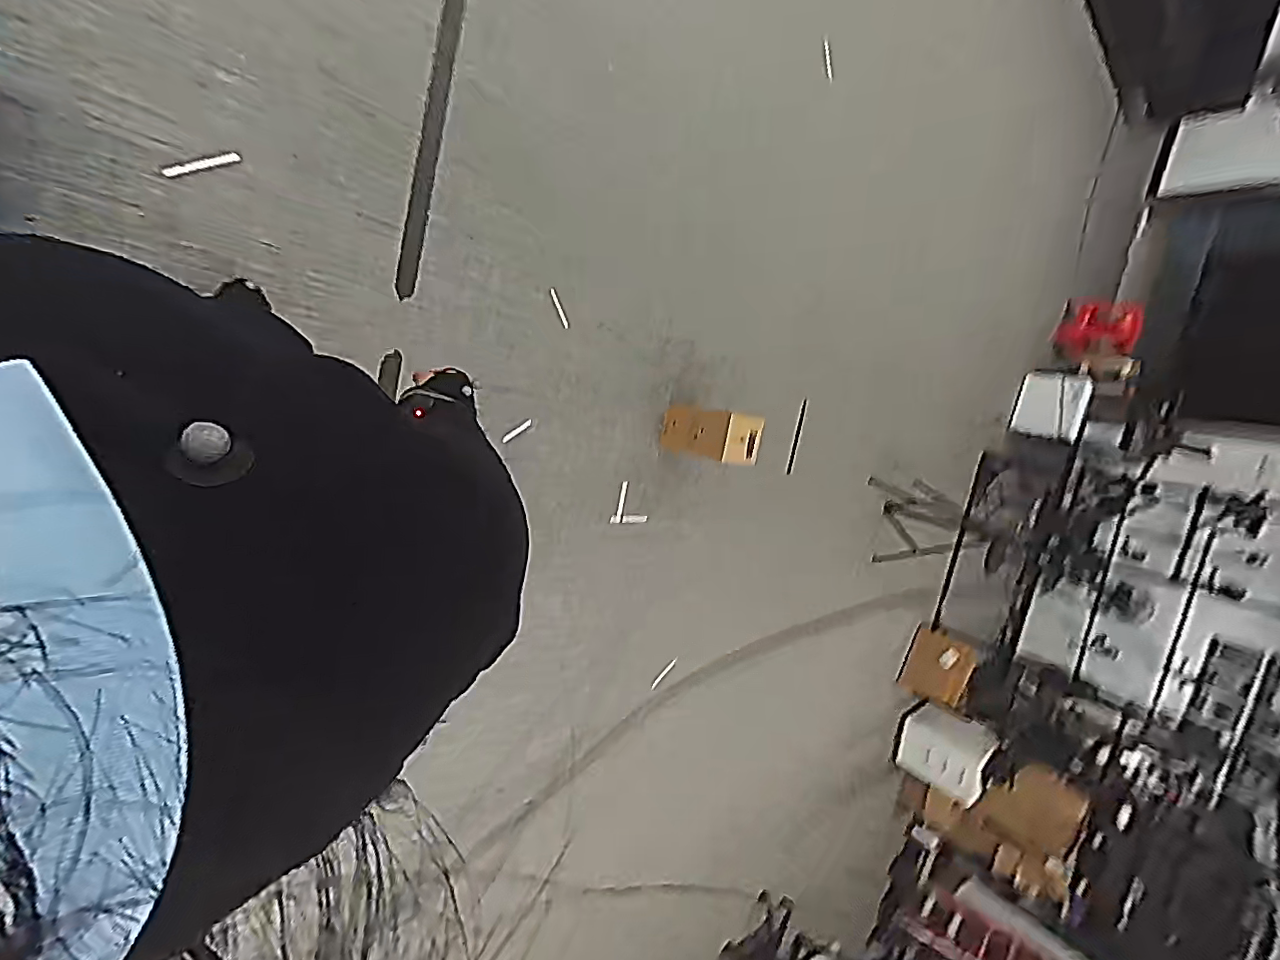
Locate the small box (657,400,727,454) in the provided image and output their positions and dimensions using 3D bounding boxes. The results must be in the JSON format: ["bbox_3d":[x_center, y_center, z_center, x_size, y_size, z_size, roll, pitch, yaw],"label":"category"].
[{"bbox_3d":[0.194,-0.201,2.035,0.179,0.176,0.168,4,101,-40],"label":"small box"}]
